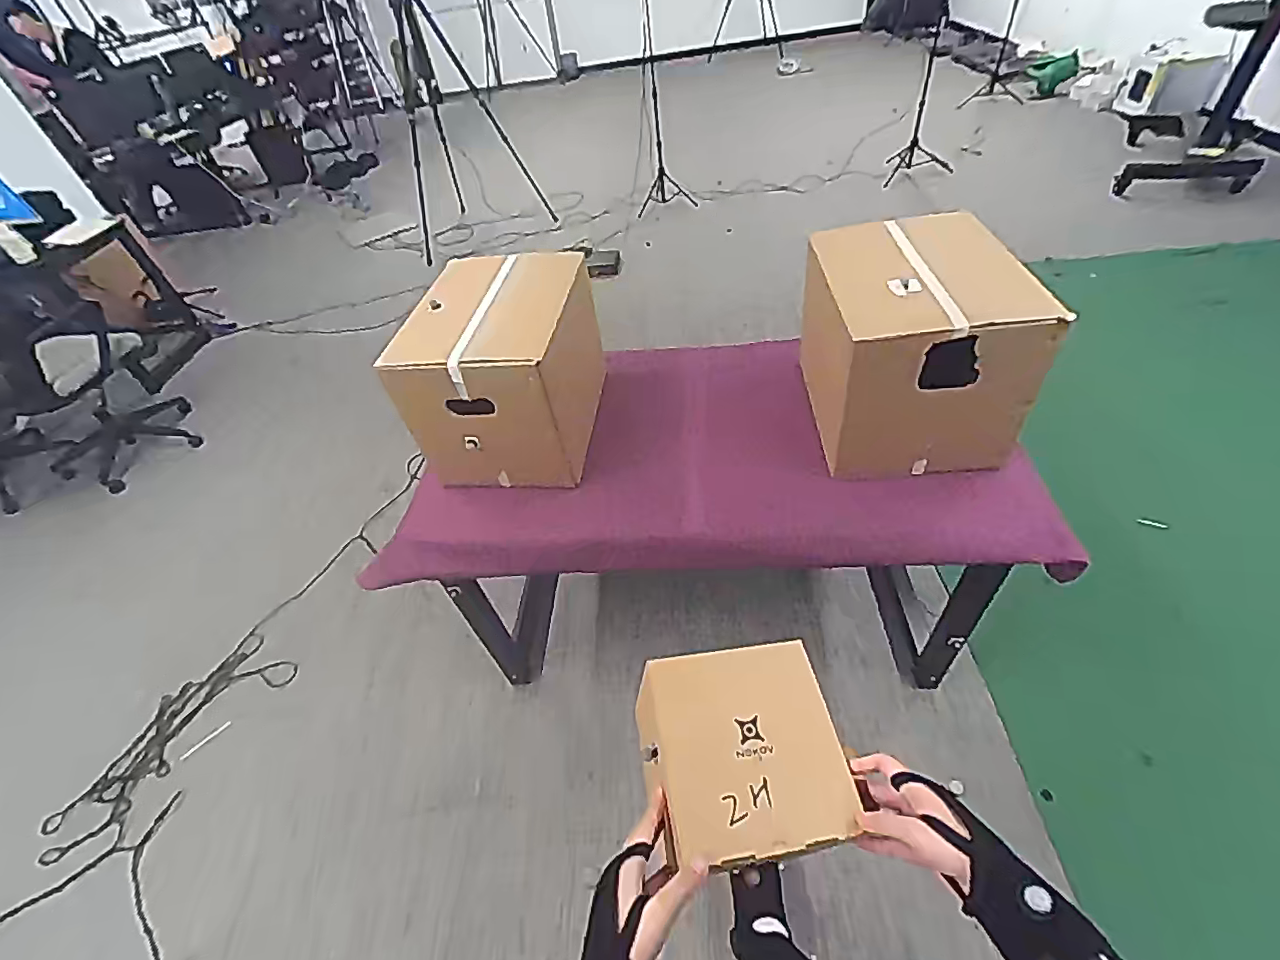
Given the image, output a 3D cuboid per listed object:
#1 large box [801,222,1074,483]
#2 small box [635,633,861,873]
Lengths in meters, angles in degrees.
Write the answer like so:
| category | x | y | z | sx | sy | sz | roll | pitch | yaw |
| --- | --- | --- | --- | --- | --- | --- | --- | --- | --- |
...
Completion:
| category | x | y | z | sx | sy | sz | roll | pitch | yaw |
| --- | --- | --- | --- | --- | --- | --- | --- | --- | --- |
| large box | 0.510 | -0.248 | 1.047 | 0.320 | 0.320 | 0.408 | -5 | 46 | 8 |
| small box | 0.090 | 0.282 | 0.560 | 0.168 | 0.176 | 0.179 | -4 | 51 | -9 |
